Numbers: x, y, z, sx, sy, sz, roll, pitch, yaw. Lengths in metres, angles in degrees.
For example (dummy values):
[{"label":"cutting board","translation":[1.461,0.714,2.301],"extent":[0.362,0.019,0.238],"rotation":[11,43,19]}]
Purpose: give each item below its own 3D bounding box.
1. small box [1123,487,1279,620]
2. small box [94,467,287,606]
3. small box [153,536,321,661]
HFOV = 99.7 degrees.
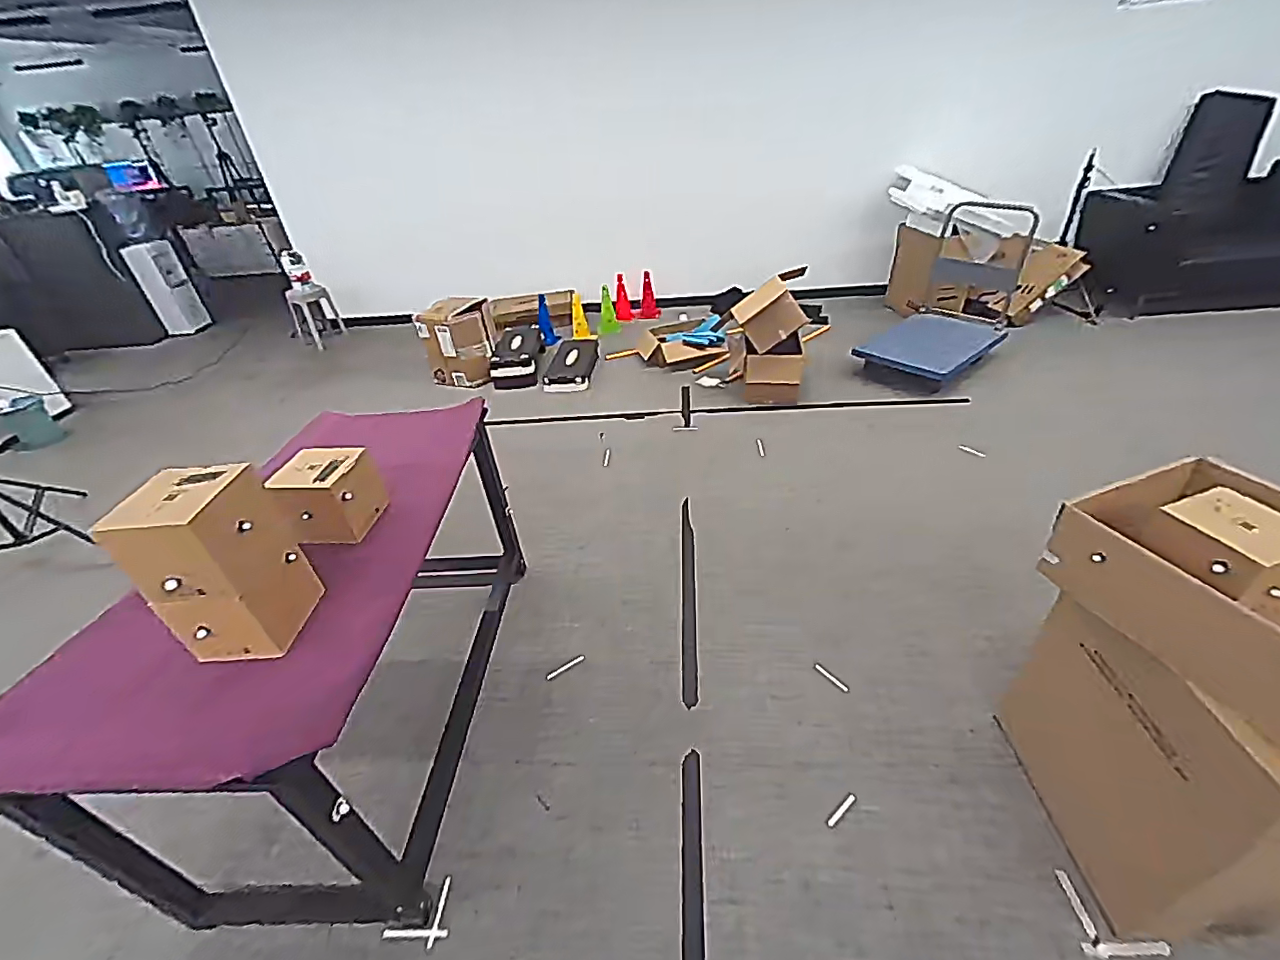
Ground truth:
[{"label":"small box","translation":[1.098,0.144,1.033],"extent":[0.168,0.176,0.179],"rotation":[-15,36,-11]},{"label":"small box","translation":[-0.766,0.098,0.952],"extent":[0.168,0.176,0.179],"rotation":[-5,35,2]},{"label":"small box","translation":[-0.757,0.233,1.045],"extent":[0.168,0.176,0.179],"rotation":[-4,35,2]}]
